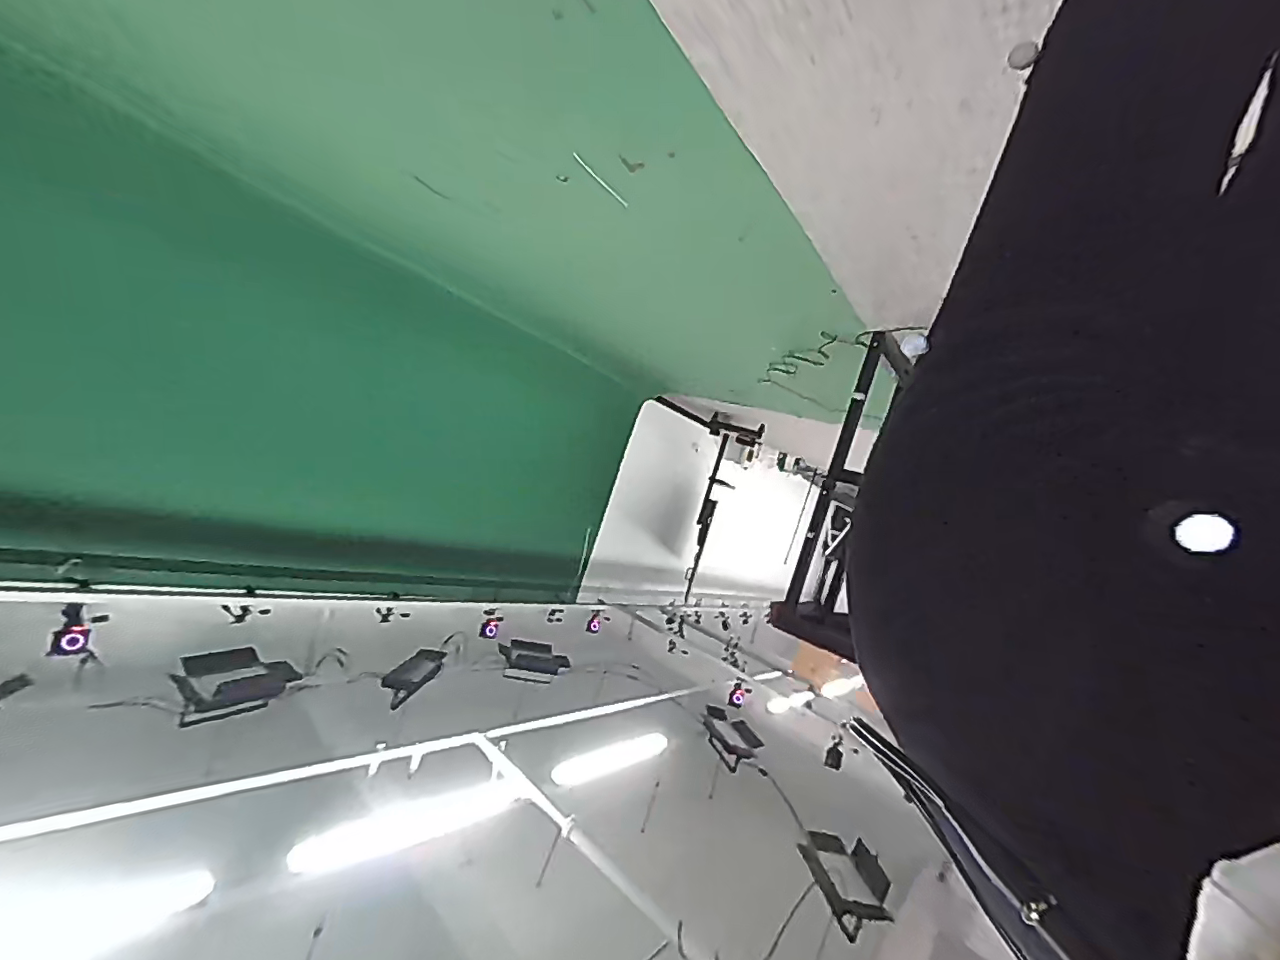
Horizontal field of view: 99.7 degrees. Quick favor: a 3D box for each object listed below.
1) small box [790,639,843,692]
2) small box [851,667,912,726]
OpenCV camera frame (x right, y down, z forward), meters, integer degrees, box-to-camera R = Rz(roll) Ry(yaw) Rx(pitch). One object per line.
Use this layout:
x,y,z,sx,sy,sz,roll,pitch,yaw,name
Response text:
0.818,0.849,2.485,0.179,0.176,0.168,17,178,36,small box
1.034,0.918,2.308,0.179,0.176,0.168,17,180,39,small box
